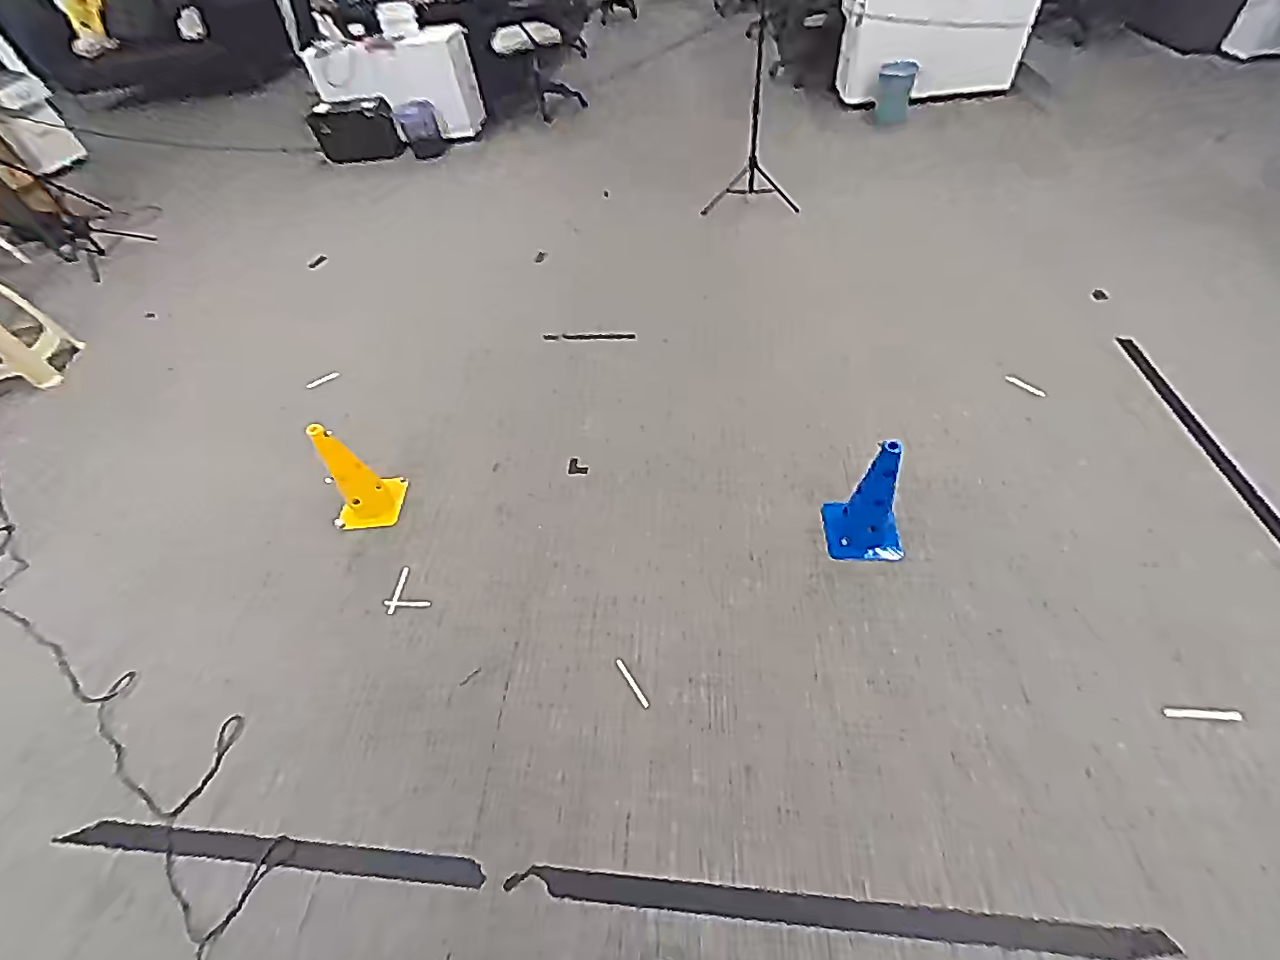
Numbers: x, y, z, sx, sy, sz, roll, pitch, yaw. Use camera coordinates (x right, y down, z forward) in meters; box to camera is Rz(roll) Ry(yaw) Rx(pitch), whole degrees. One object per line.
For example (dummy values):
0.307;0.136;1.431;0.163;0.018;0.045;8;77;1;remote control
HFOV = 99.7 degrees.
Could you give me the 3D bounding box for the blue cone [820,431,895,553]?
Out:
0.611;0.023;1.437;0.193;0.380;0.192;0;49;8;blue cone
